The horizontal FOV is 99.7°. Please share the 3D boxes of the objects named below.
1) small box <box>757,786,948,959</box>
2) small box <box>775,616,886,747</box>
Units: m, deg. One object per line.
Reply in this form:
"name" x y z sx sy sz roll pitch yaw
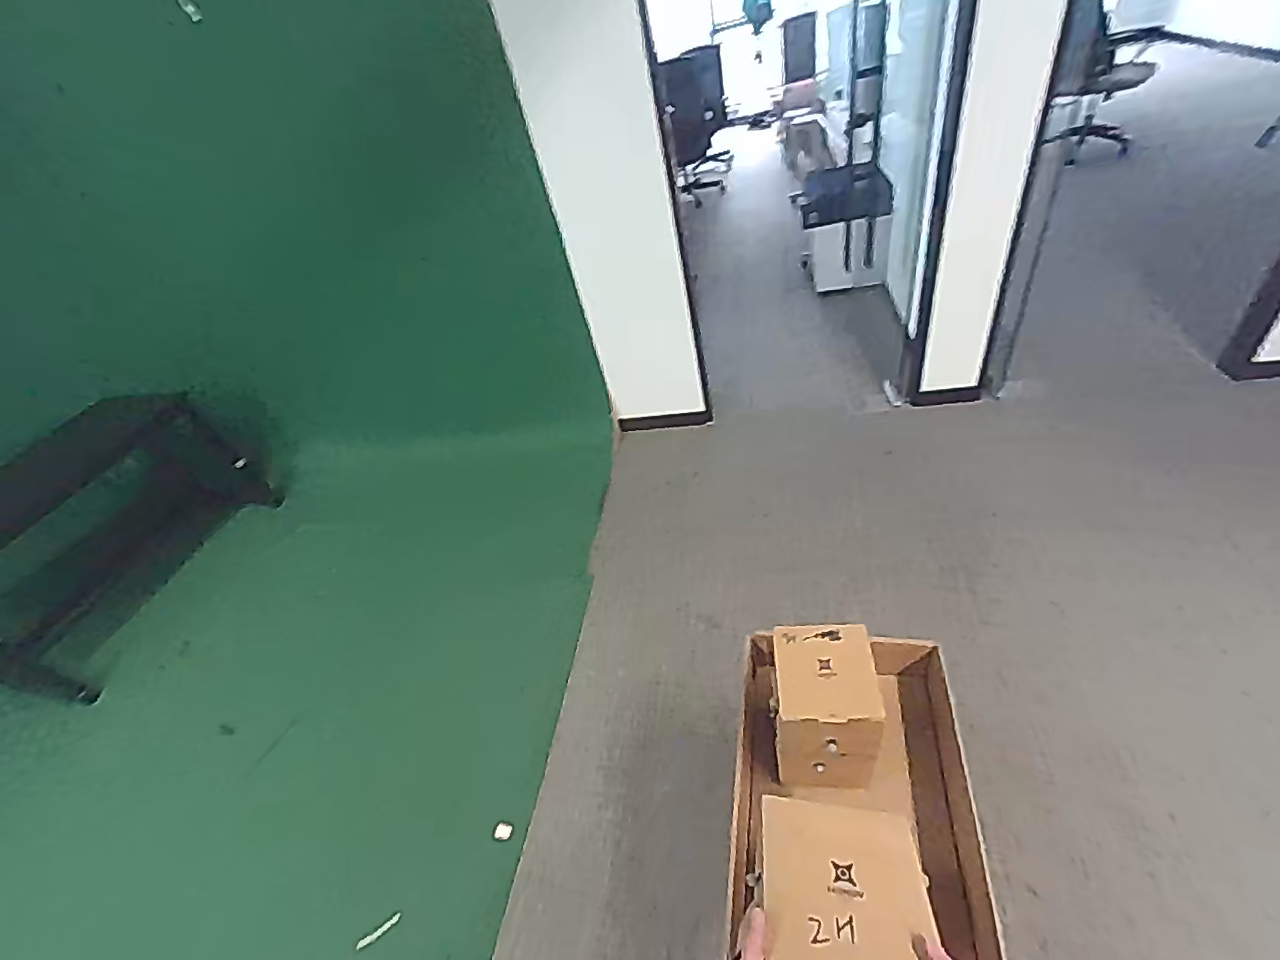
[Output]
"small box" 0.216 0.482 0.594 0.168 0.176 0.179 2 26 11
"small box" 0.339 0.367 0.980 0.168 0.176 0.179 -5 44 13
